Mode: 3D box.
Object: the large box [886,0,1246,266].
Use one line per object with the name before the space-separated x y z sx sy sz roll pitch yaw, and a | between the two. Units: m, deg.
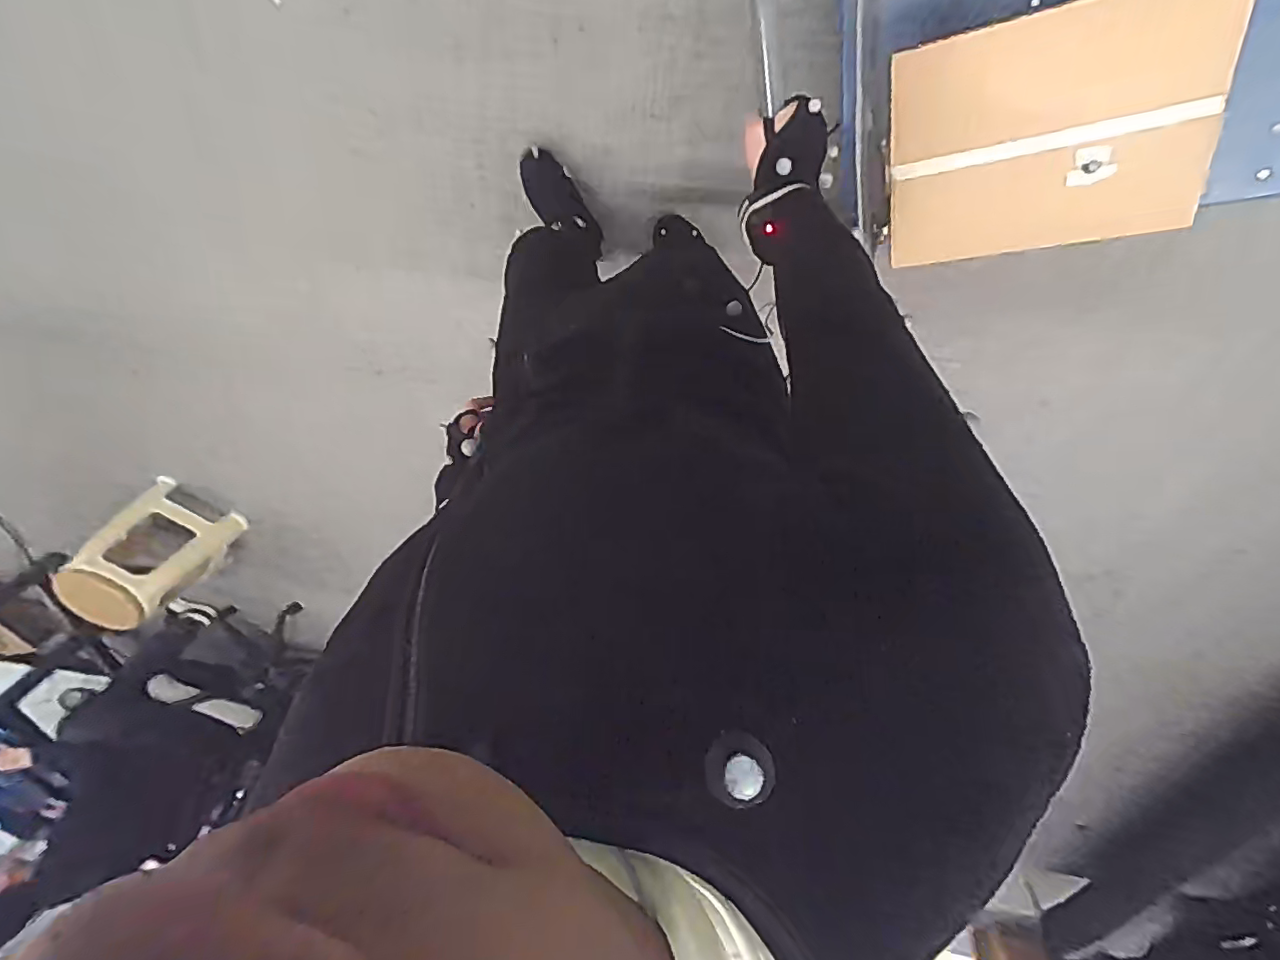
large box | 0.643 -0.590 0.919 0.408 0.320 0.320 1 126 24
